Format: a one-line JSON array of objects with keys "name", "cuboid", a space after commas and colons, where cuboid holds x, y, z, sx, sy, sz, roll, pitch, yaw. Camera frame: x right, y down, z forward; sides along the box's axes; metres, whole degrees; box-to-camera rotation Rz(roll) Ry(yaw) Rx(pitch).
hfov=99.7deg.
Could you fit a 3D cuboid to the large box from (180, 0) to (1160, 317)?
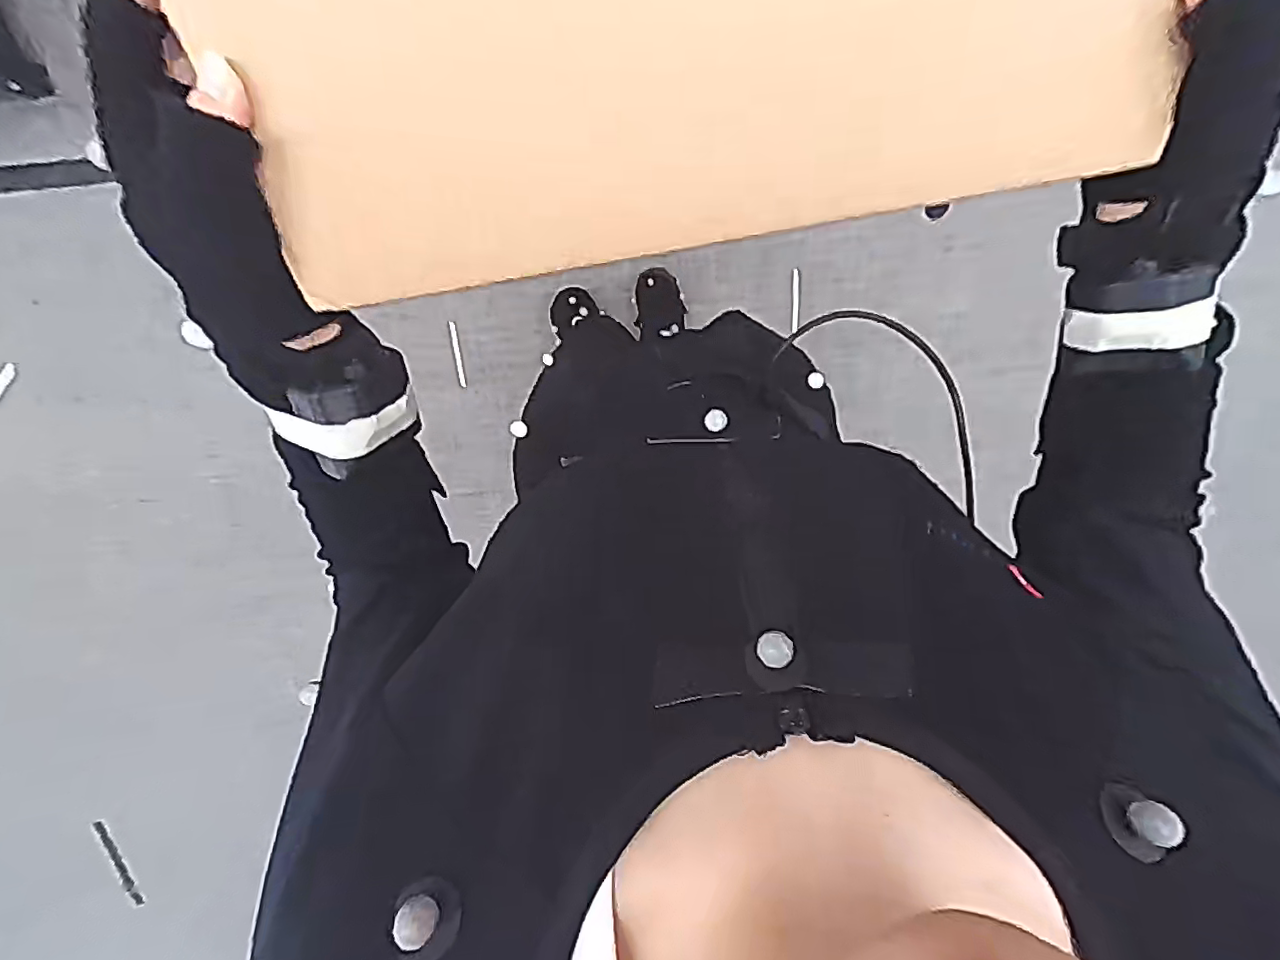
[{"name": "large box", "cuboid": [0.004, -0.322, 0.313, 0.408, 0.320, 0.320, -10, 121, 0]}]
